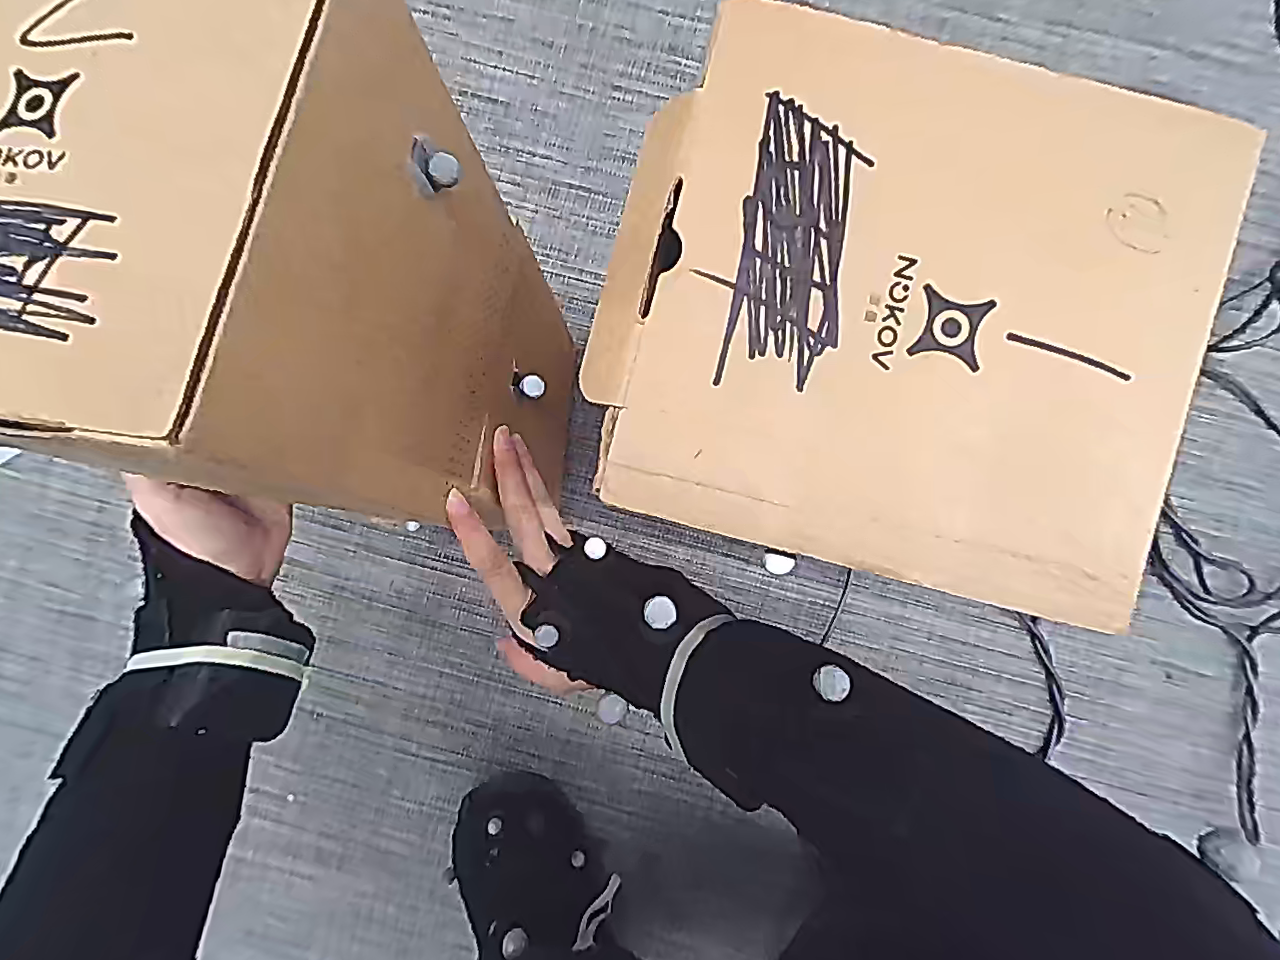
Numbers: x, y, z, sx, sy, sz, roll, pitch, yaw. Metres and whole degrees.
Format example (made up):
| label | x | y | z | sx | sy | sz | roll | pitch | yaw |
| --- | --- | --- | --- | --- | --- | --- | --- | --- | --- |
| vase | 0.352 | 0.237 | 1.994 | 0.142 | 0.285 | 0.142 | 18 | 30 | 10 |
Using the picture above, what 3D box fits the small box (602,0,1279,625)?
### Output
| label | x | y | z | sx | sy | sz | roll | pitch | yaw |
| --- | --- | --- | --- | --- | --- | --- | --- | --- | --- |
| small box | 0.093 | -0.055 | 0.243 | 0.179 | 0.176 | 0.168 | 15 | 91 | 0 |
